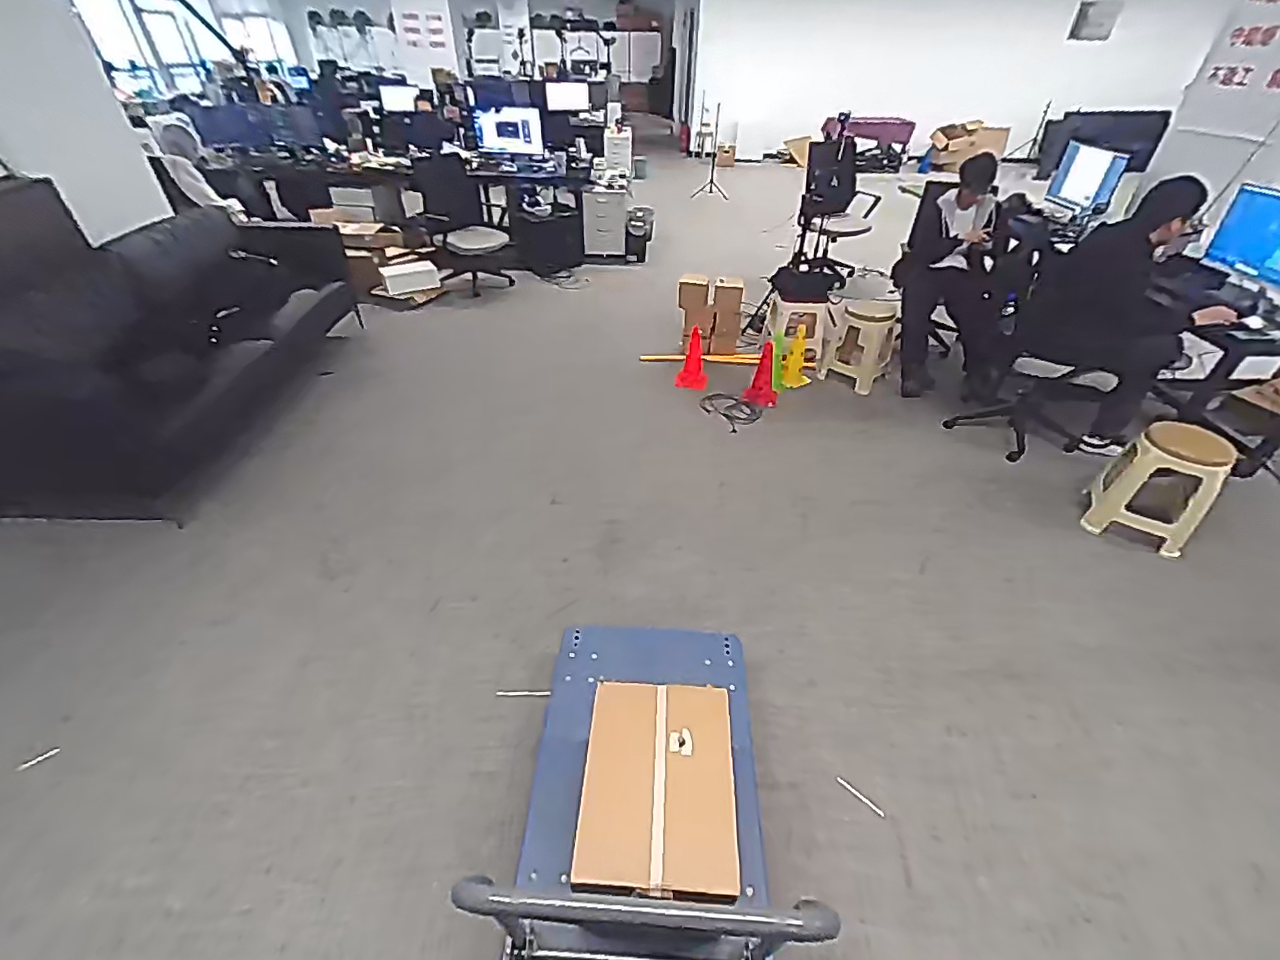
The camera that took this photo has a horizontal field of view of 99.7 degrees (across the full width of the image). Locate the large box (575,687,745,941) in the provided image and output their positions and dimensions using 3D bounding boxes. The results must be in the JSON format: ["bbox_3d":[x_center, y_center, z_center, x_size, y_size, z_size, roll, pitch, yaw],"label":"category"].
[{"bbox_3d":[0.043,0.734,1.207,0.320,0.320,0.408,3,38,2],"label":"large box"}]
